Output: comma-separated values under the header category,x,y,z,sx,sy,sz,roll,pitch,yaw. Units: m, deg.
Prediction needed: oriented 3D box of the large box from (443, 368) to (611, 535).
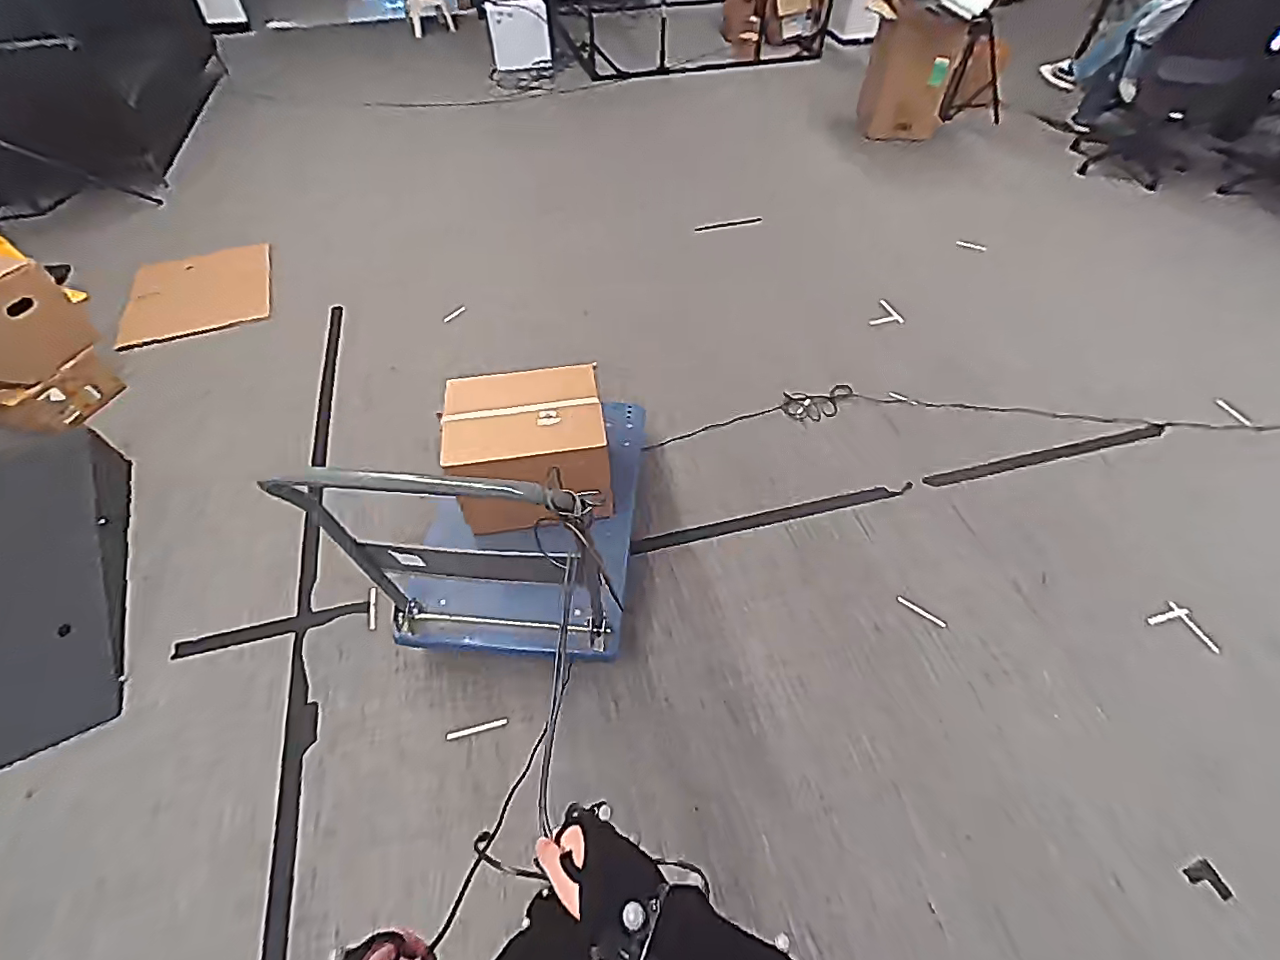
category,x,y,z,sx,sy,sz,roll,pitch,yaw
large box,-0.302,-0.077,1.511,0.408,0.320,0.320,-7,53,-6
